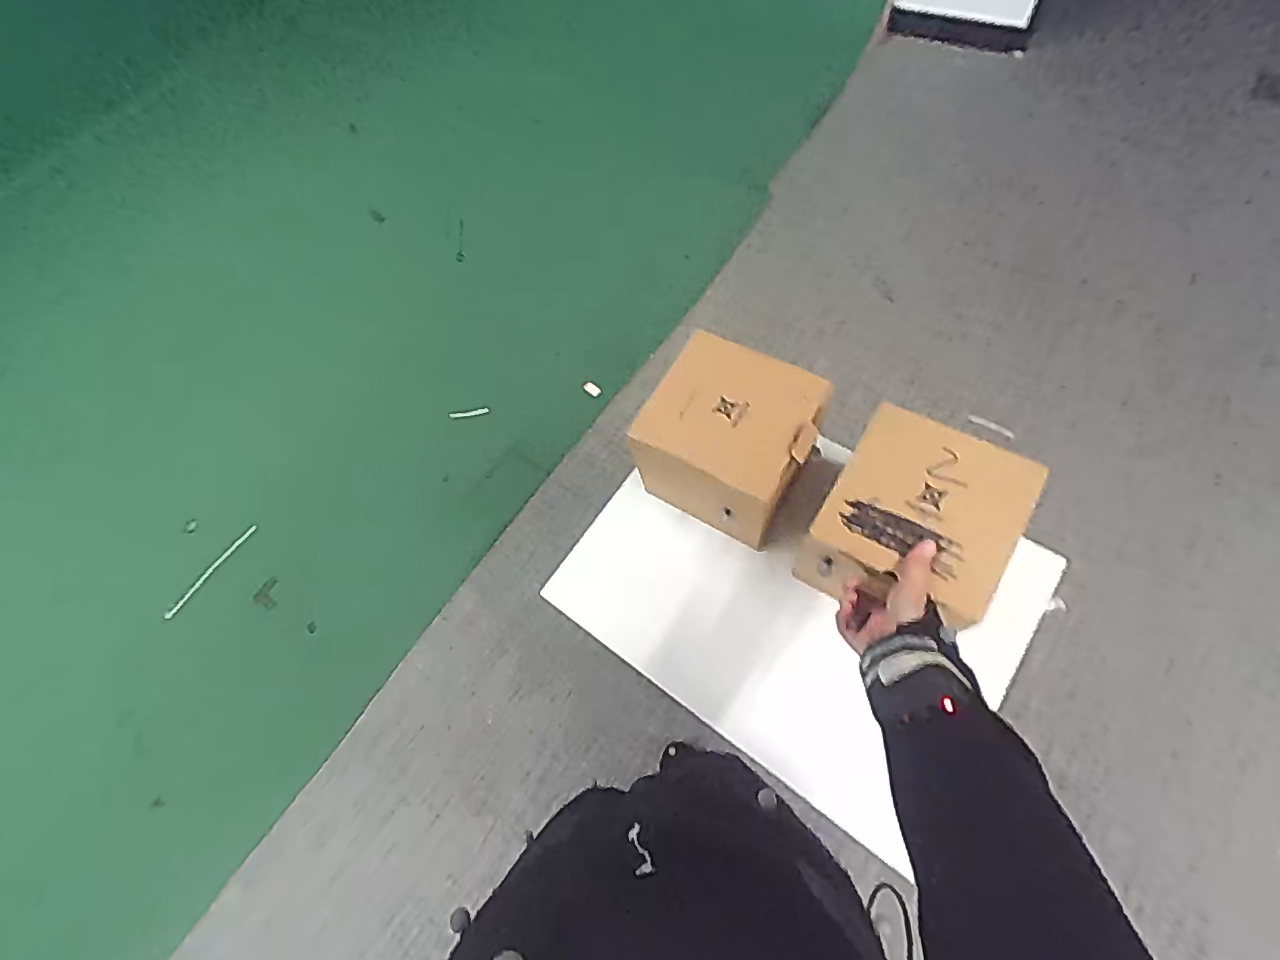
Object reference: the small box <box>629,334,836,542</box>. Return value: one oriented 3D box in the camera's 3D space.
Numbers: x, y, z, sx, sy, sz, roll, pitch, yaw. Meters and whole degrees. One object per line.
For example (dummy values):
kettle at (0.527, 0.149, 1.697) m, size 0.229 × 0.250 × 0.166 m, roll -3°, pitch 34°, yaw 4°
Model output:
small box at (0.112, -0.041, 0.668) m, size 0.179 × 0.176 × 0.168 m, roll 27°, pitch 71°, yaw 20°
